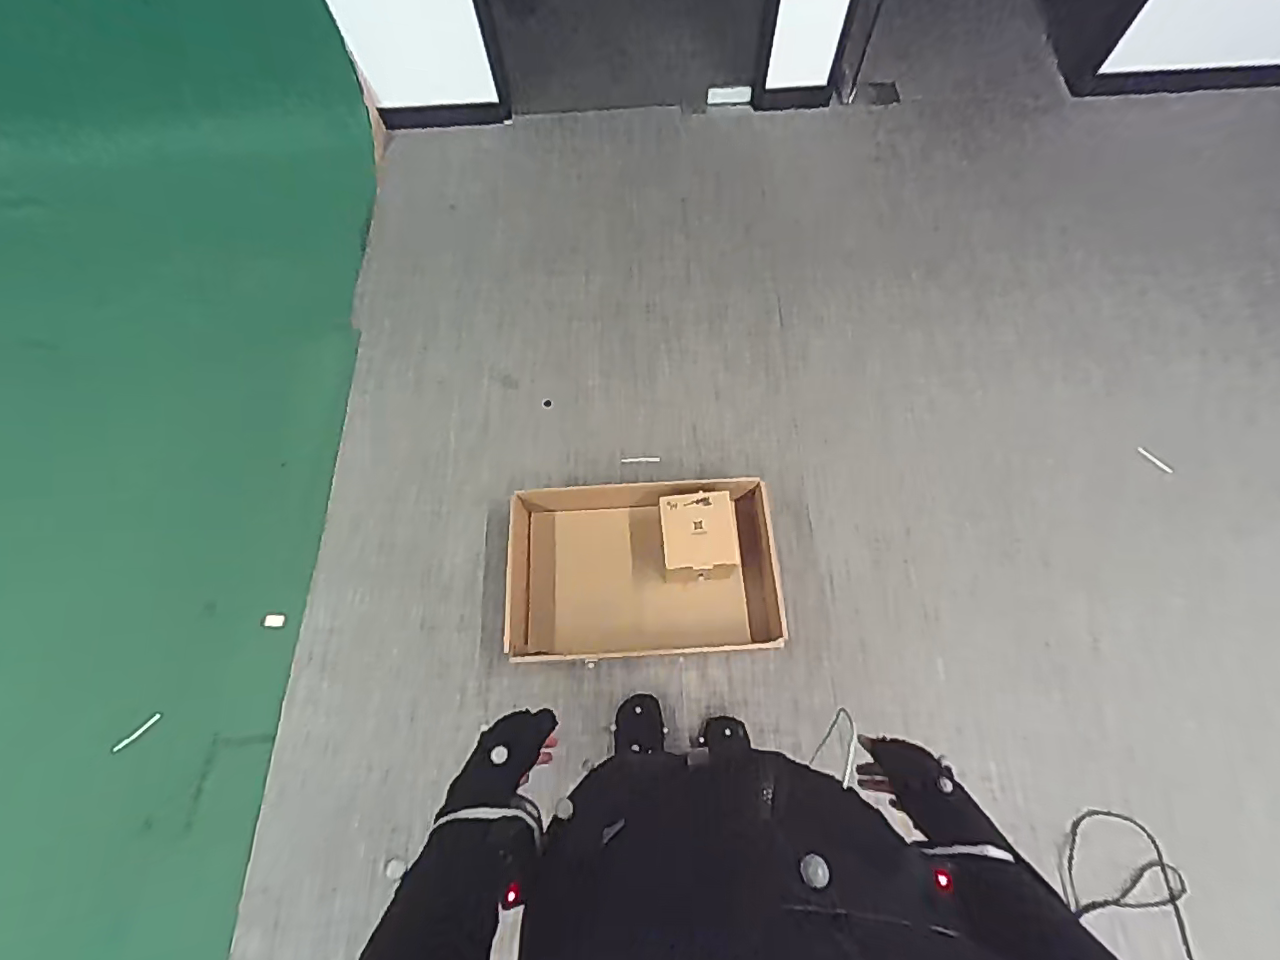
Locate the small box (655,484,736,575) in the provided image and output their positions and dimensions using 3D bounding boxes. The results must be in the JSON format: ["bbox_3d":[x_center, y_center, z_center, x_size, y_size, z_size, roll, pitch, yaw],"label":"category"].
[{"bbox_3d":[0.131,0.128,1.305,0.168,0.176,0.179,-8,68,1],"label":"small box"}]
